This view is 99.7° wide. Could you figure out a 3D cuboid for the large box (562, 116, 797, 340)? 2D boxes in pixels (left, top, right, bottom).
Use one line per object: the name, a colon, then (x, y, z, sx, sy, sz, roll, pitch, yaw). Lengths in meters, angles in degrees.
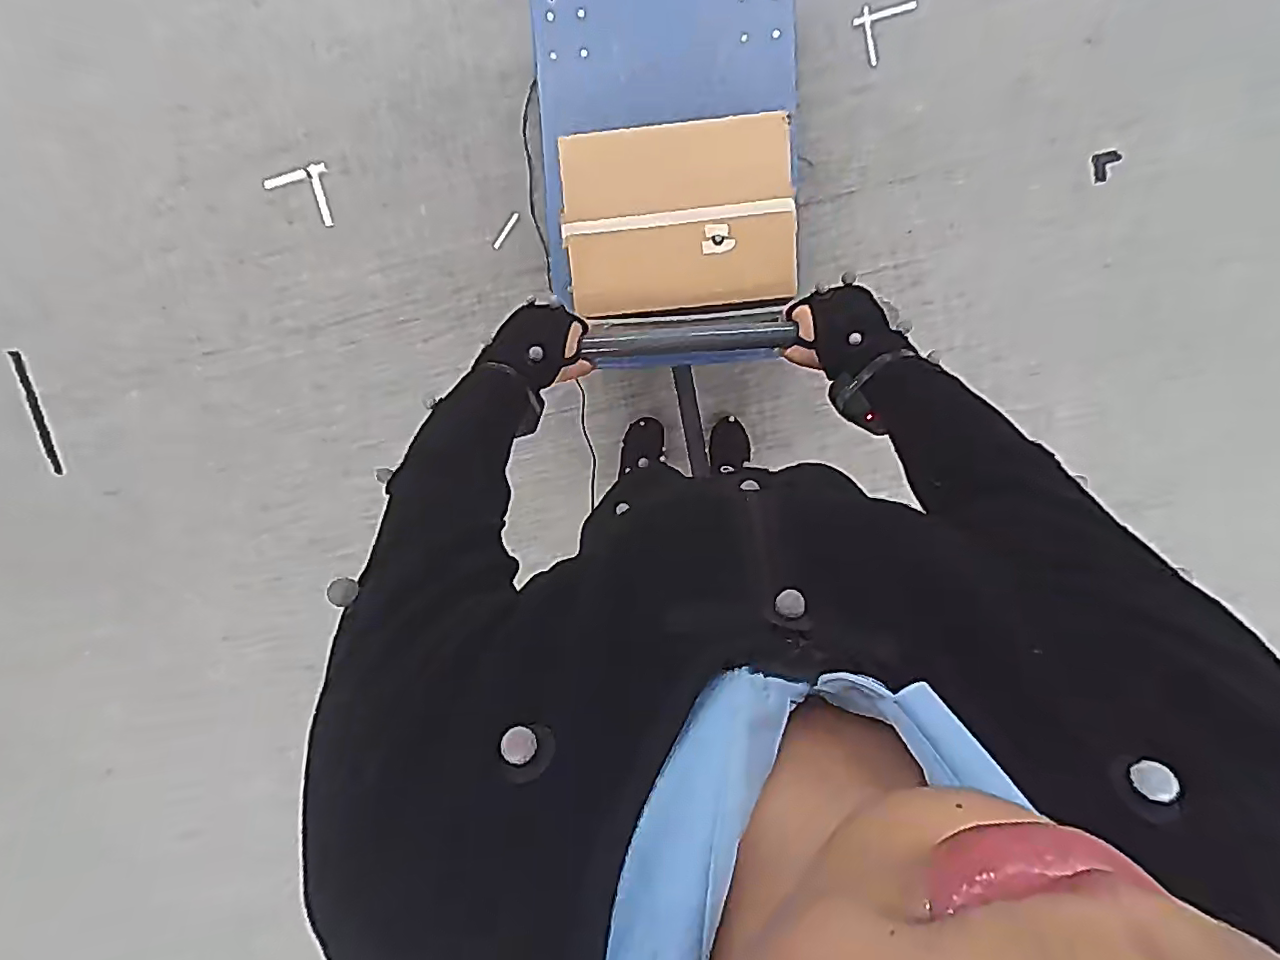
large box: (0.077, -0.486, 1.121, 0.408, 0.320, 0.320, -6, 98, 3)
